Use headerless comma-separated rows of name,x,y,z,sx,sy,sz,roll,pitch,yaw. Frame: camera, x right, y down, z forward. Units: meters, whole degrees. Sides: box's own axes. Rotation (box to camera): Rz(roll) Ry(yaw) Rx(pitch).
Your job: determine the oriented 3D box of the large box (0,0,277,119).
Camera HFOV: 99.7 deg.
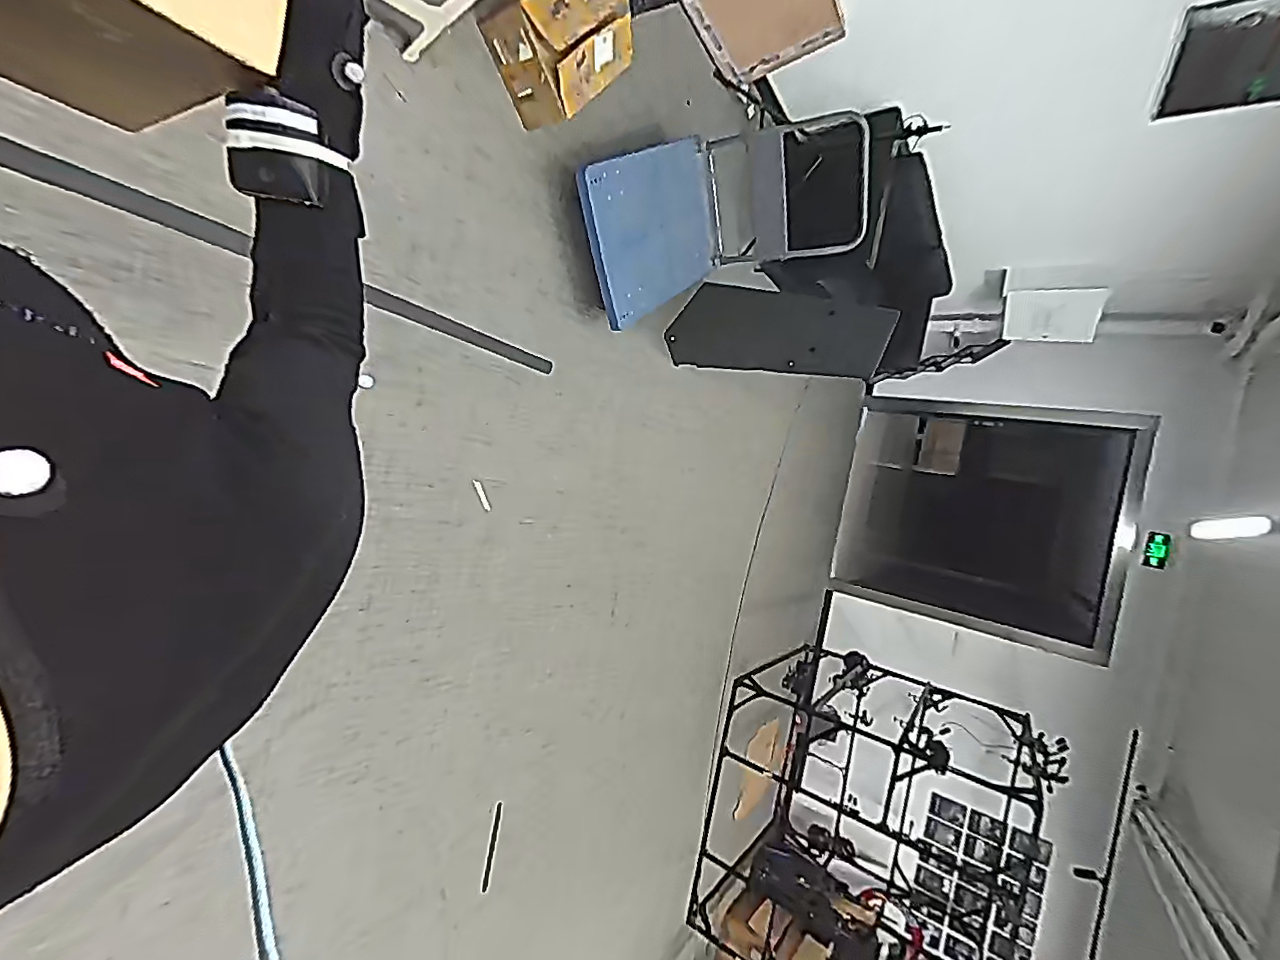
large box,-0.449,-0.460,0.259,0.408,0.320,0.320,3,101,-57
